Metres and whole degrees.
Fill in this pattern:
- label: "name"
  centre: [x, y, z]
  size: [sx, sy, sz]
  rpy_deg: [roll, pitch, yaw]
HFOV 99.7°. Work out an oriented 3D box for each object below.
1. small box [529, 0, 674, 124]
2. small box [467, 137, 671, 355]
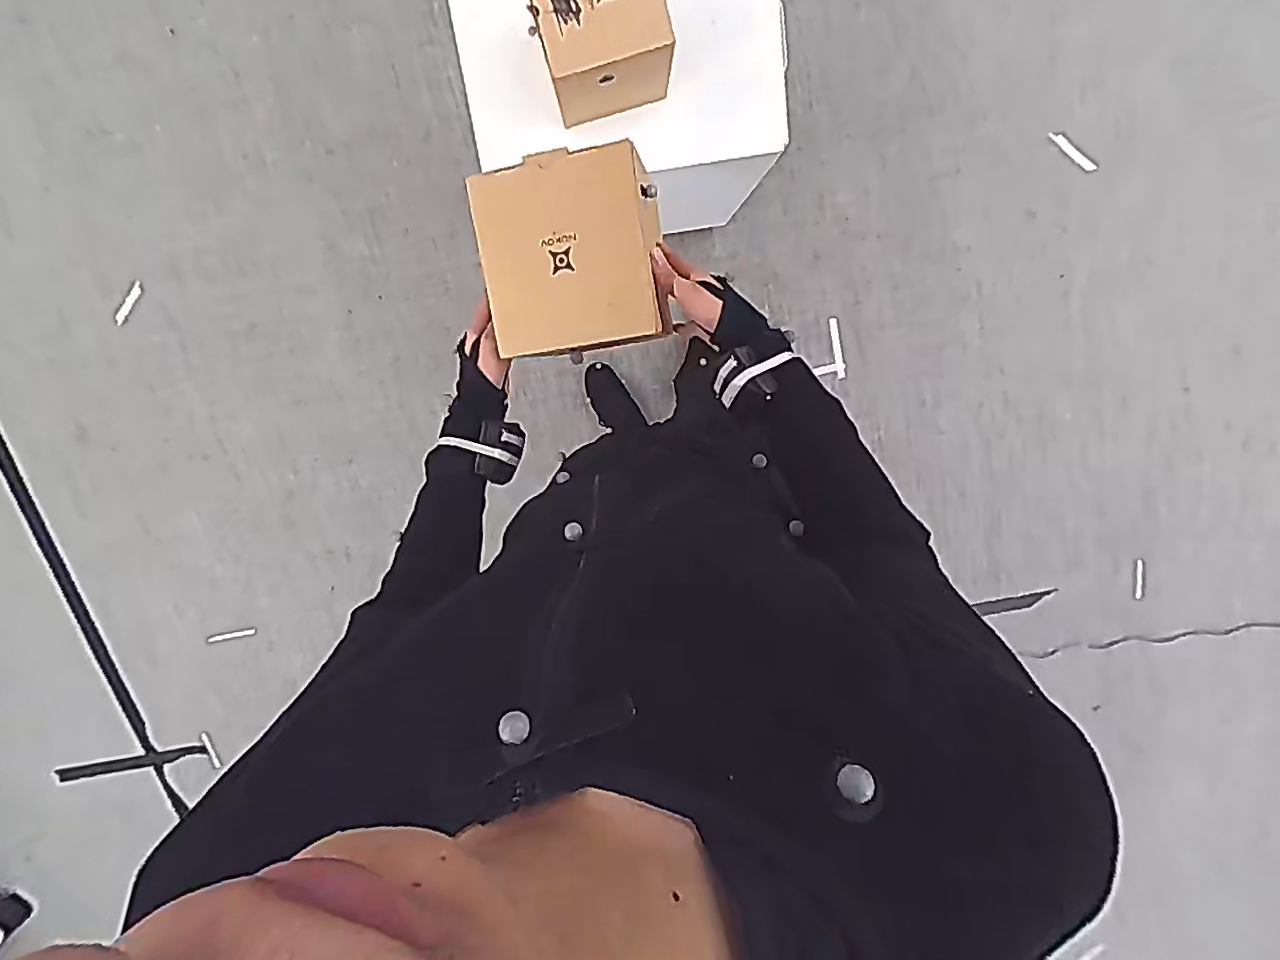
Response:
- label: "small box"
  centre: [-0.059, -0.656, 0.788]
  size: [0.179, 0.176, 0.168]
  rpy_deg: [-16, 103, 1]
- label: "small box"
  centre: [-0.063, -0.237, 0.598]
  size: [0.168, 0.176, 0.179]
  rpy_deg: [-7, 101, 11]
